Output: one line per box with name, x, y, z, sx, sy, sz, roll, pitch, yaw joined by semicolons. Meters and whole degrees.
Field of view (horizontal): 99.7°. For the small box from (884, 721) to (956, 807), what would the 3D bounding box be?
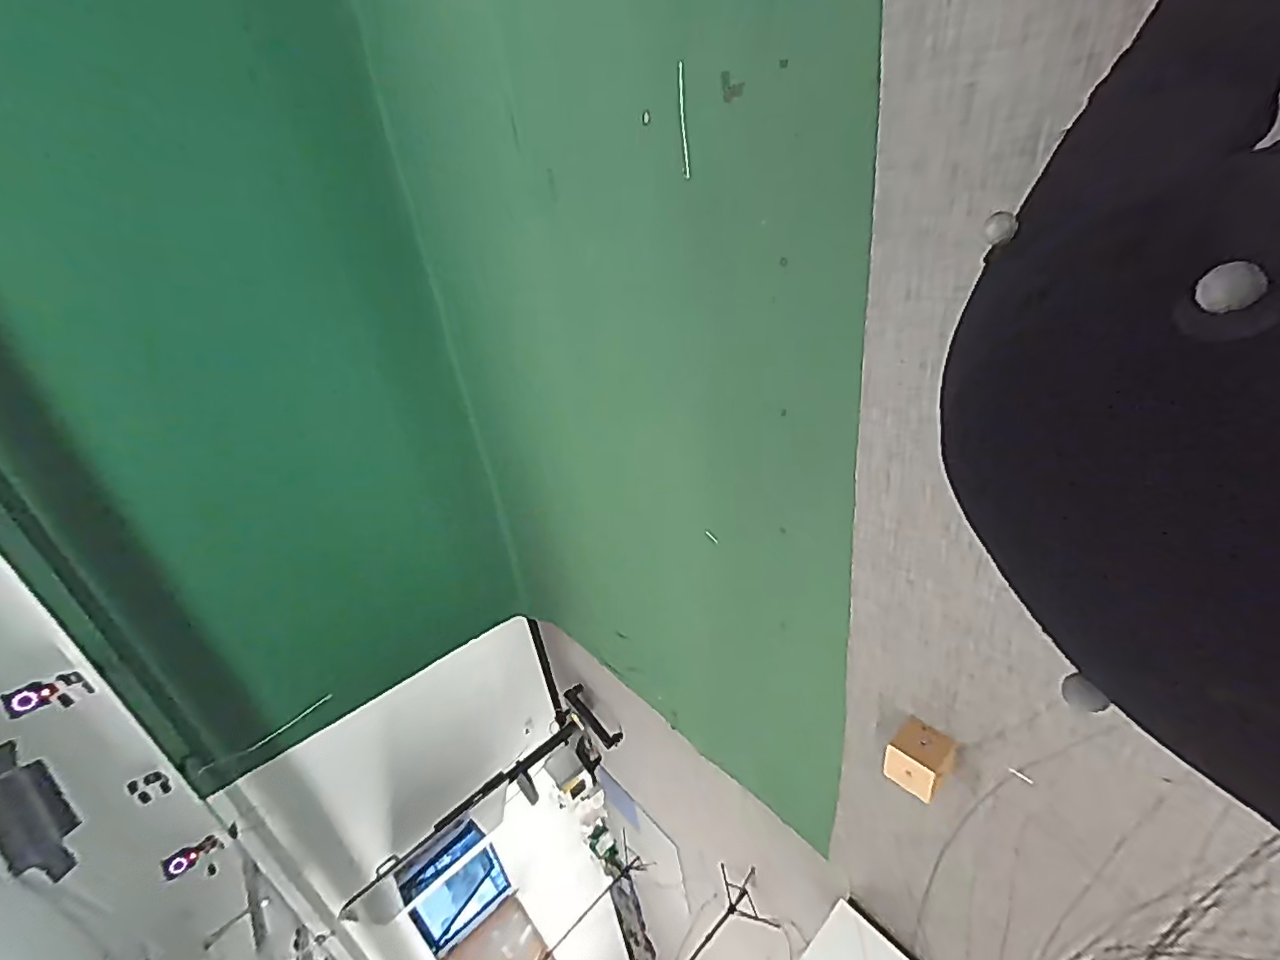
small box;1.001;1.004;1.930;0.168;0.176;0.179;24;131;46
